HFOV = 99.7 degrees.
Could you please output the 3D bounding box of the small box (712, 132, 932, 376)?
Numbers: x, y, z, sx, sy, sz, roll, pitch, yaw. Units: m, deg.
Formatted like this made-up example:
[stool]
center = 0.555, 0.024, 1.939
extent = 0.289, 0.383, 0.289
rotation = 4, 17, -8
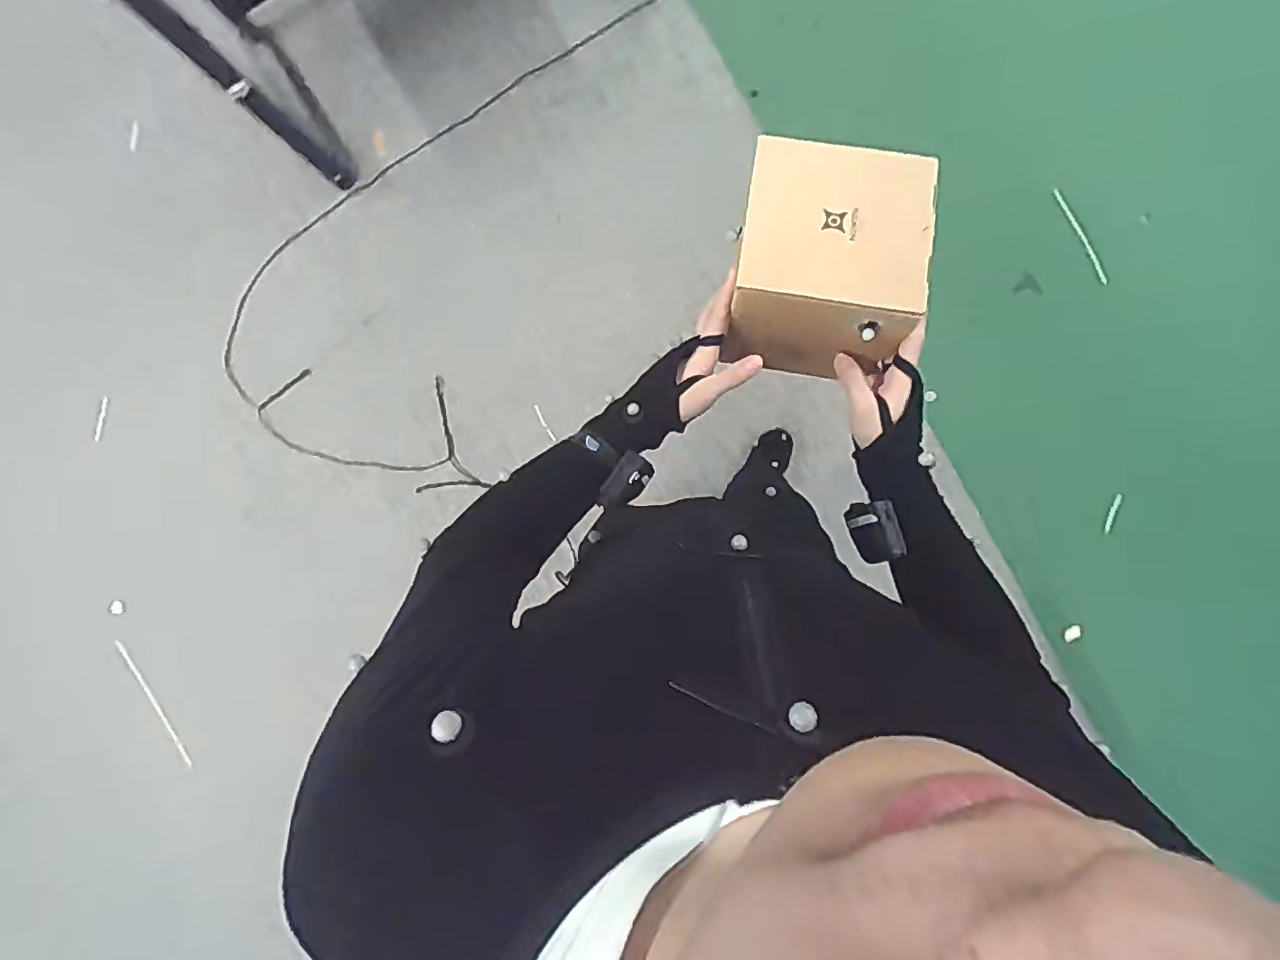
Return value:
[small box]
center = 0.177, -0.224, 0.572
extent = 0.179, 0.176, 0.168
rotation = 9, 79, 3
